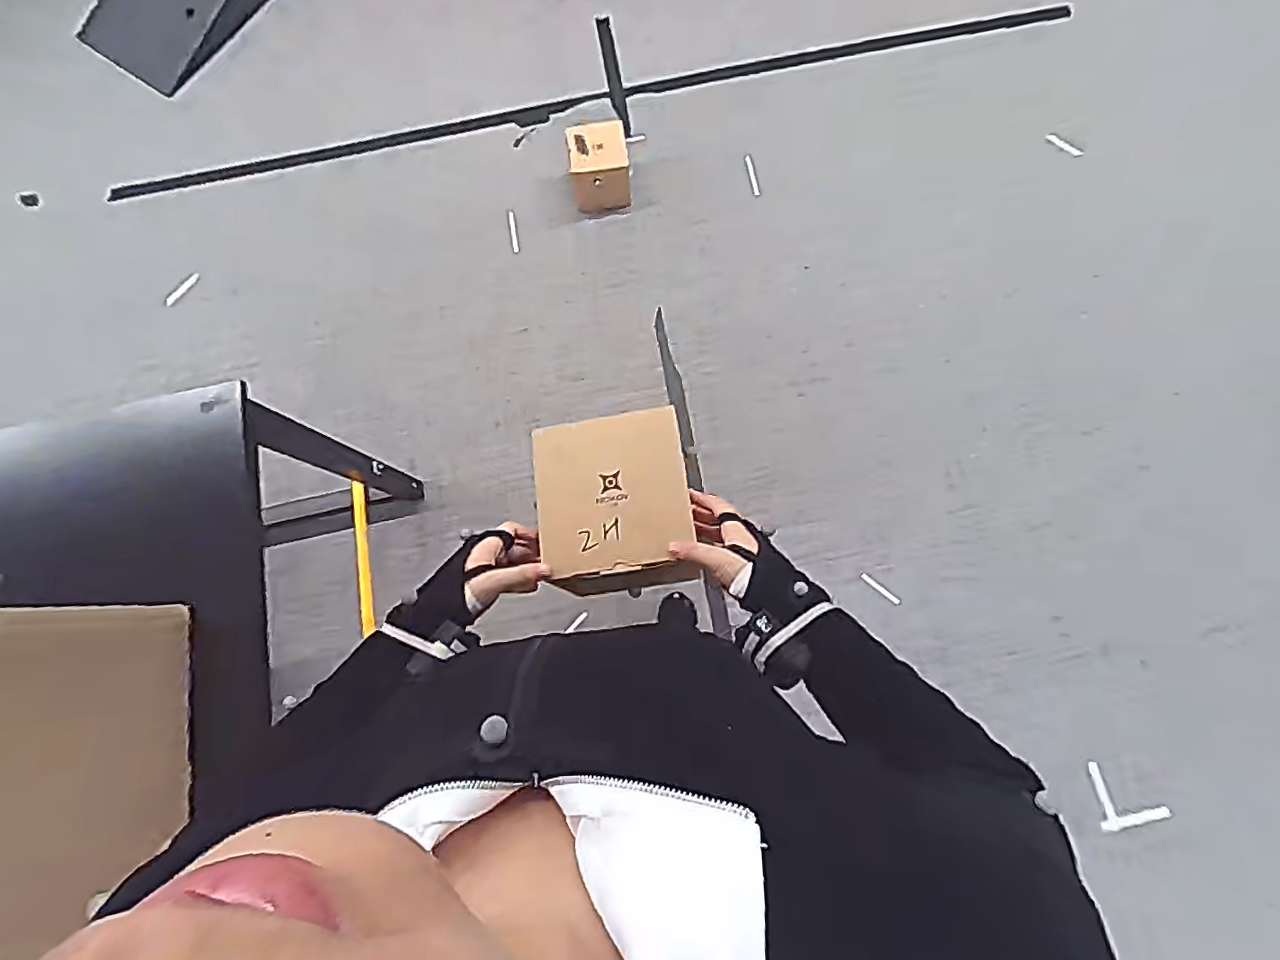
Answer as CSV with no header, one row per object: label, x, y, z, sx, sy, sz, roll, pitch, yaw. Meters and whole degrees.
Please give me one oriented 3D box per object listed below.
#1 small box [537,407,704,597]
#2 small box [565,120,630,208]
small box,-0.017,0.036,0.657,0.168,0.176,0.179,-11,71,5
small box,-0.128,-0.978,1.691,0.179,0.176,0.168,-8,78,-1
